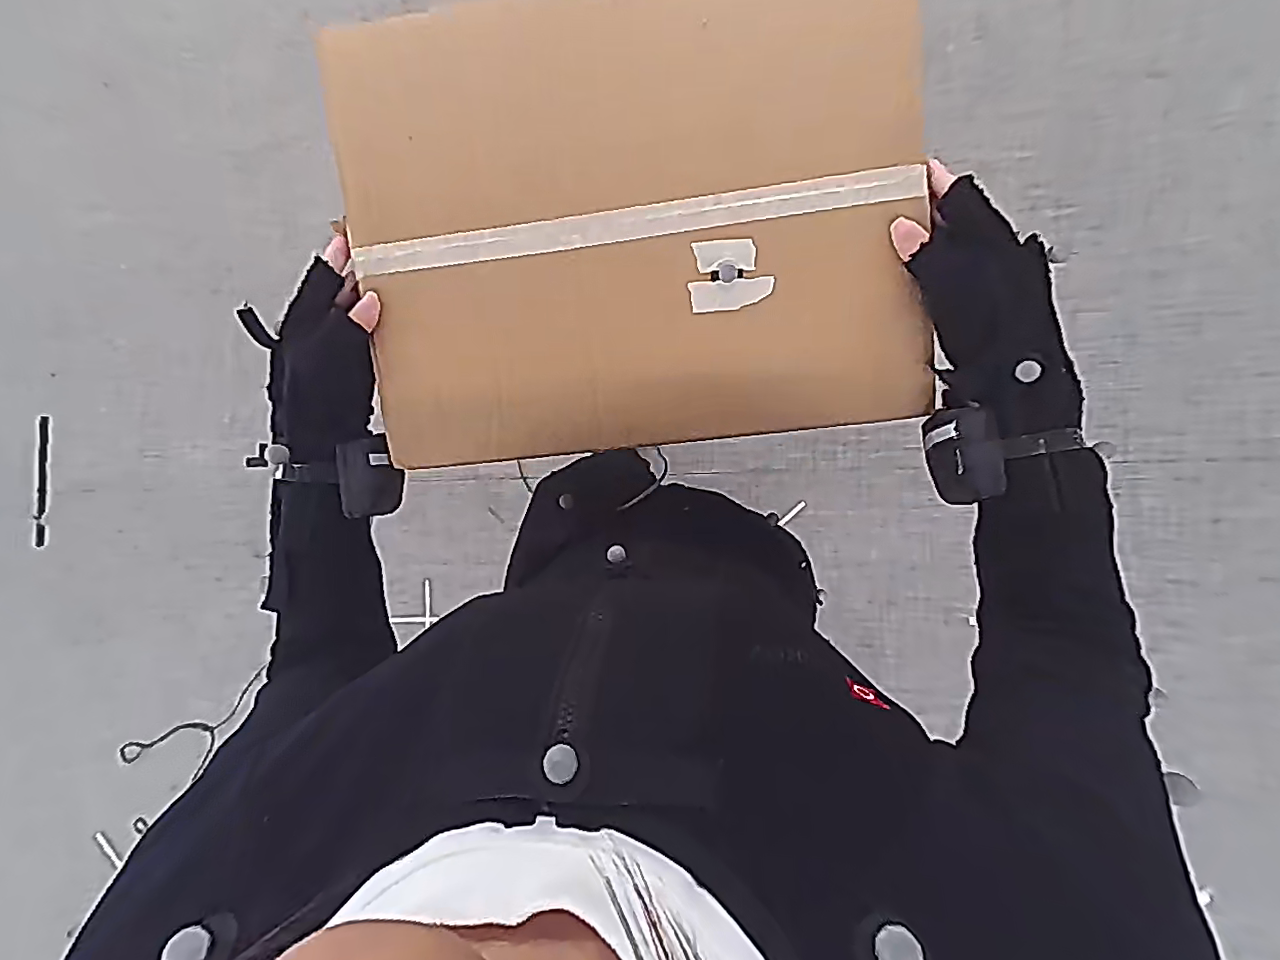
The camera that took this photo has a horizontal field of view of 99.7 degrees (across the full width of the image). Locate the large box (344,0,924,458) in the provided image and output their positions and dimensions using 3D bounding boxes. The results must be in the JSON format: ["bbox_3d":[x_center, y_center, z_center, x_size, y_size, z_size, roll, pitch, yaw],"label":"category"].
[{"bbox_3d":[0.004,-0.209,0.544,0.408,0.320,0.320,-6,98,4],"label":"large box"}]
